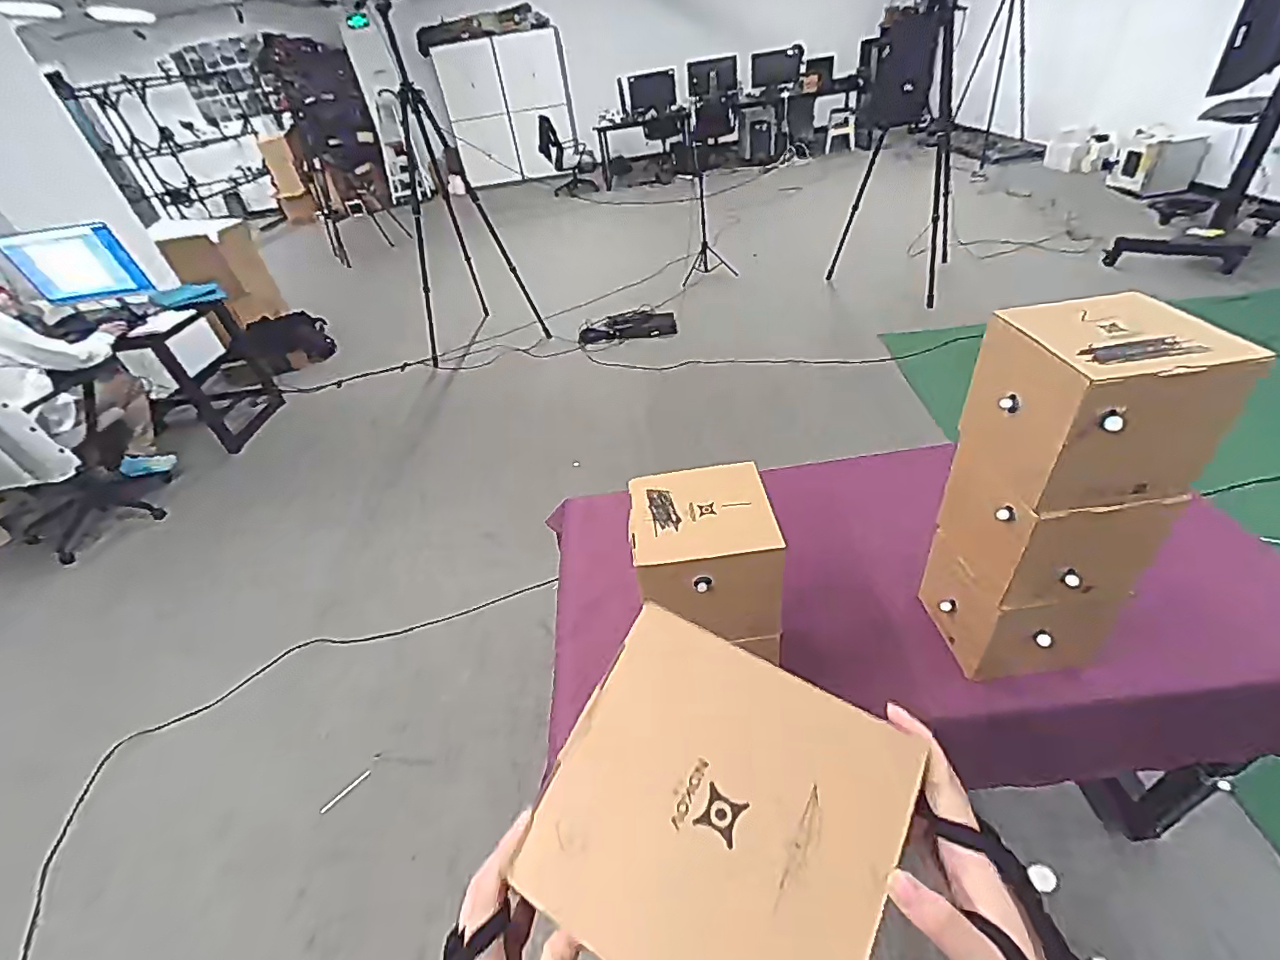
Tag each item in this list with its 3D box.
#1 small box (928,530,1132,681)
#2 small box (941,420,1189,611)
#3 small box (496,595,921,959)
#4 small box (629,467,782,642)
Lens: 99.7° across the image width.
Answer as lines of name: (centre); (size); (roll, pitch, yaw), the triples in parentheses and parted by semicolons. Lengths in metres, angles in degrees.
small box: (0.552, 0.176, 0.801); (0.179, 0.176, 0.168); (-9, 38, 2)
small box: (0.525, 0.045, 0.707); (0.168, 0.176, 0.179); (-8, 38, 3)
small box: (0.046, 0.208, 0.353); (0.179, 0.176, 0.168); (24, 67, 22)
small box: (0.085, 0.106, 0.726); (0.179, 0.176, 0.168); (-8, 38, 2)
